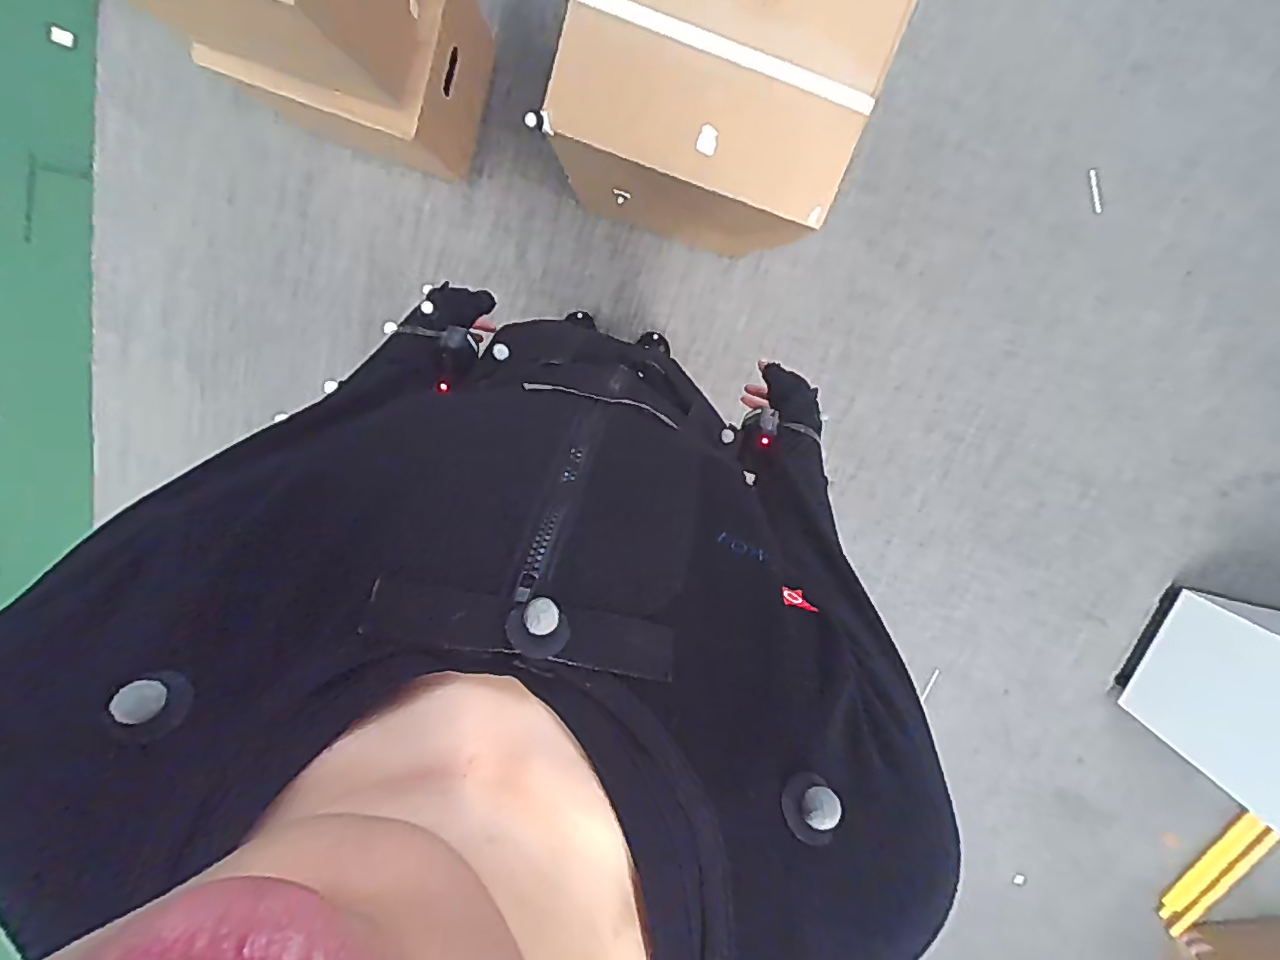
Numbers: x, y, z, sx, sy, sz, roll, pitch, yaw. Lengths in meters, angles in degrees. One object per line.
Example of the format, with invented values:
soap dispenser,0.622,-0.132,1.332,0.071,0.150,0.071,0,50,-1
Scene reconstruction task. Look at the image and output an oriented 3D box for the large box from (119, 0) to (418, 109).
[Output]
large box,-0.576,-0.821,0.777,0.408,0.320,0.320,16,103,-5
